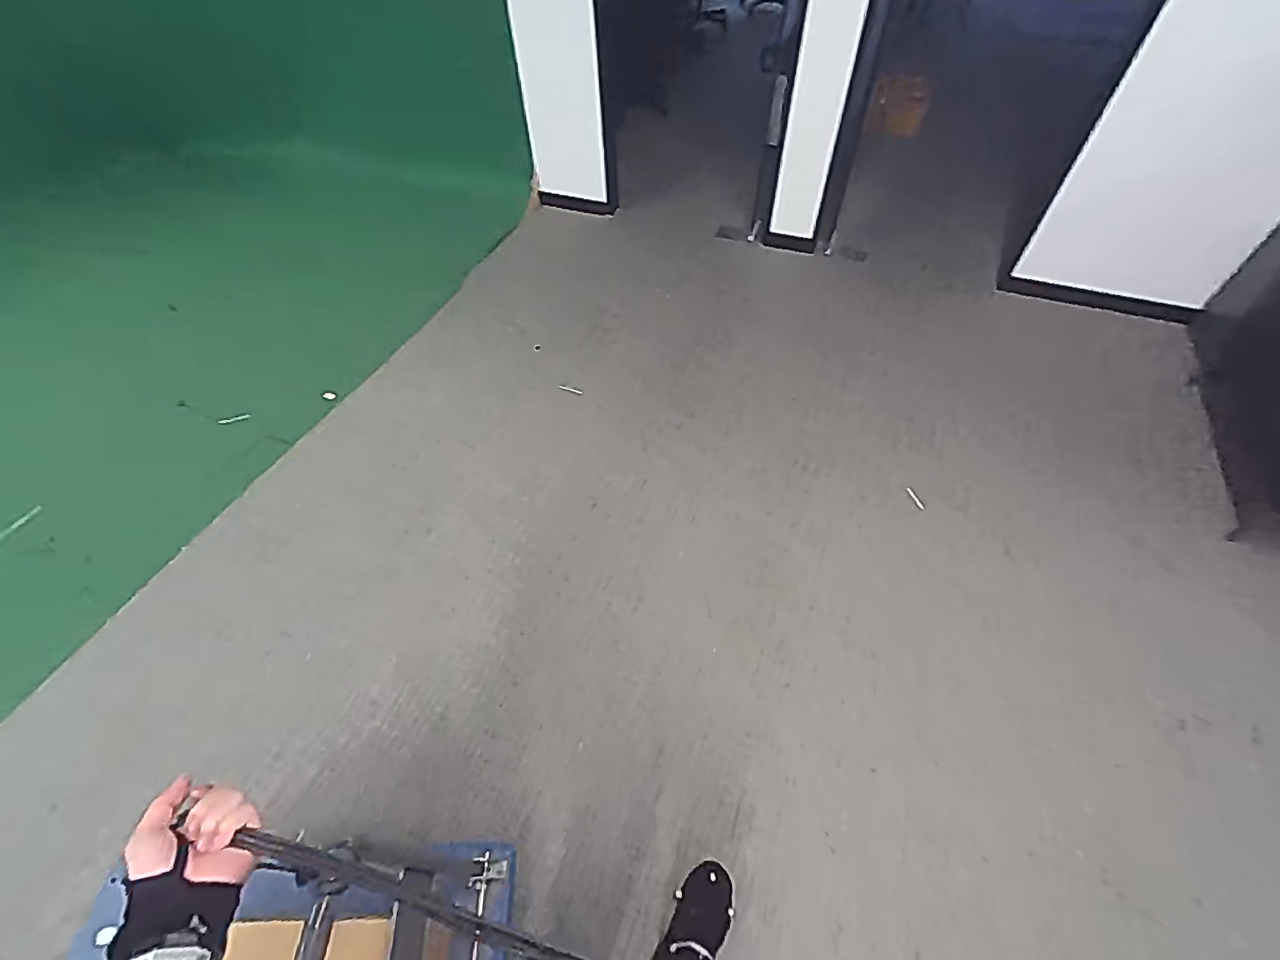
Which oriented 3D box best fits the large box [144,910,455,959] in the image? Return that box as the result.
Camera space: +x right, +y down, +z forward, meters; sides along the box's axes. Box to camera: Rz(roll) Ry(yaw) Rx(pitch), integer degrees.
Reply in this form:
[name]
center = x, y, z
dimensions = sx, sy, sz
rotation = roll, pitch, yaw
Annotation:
[large box]
center = -0.566, 0.920, 0.892
dimensions = 0.408, 0.320, 0.320
rotation = -2, 52, 1
